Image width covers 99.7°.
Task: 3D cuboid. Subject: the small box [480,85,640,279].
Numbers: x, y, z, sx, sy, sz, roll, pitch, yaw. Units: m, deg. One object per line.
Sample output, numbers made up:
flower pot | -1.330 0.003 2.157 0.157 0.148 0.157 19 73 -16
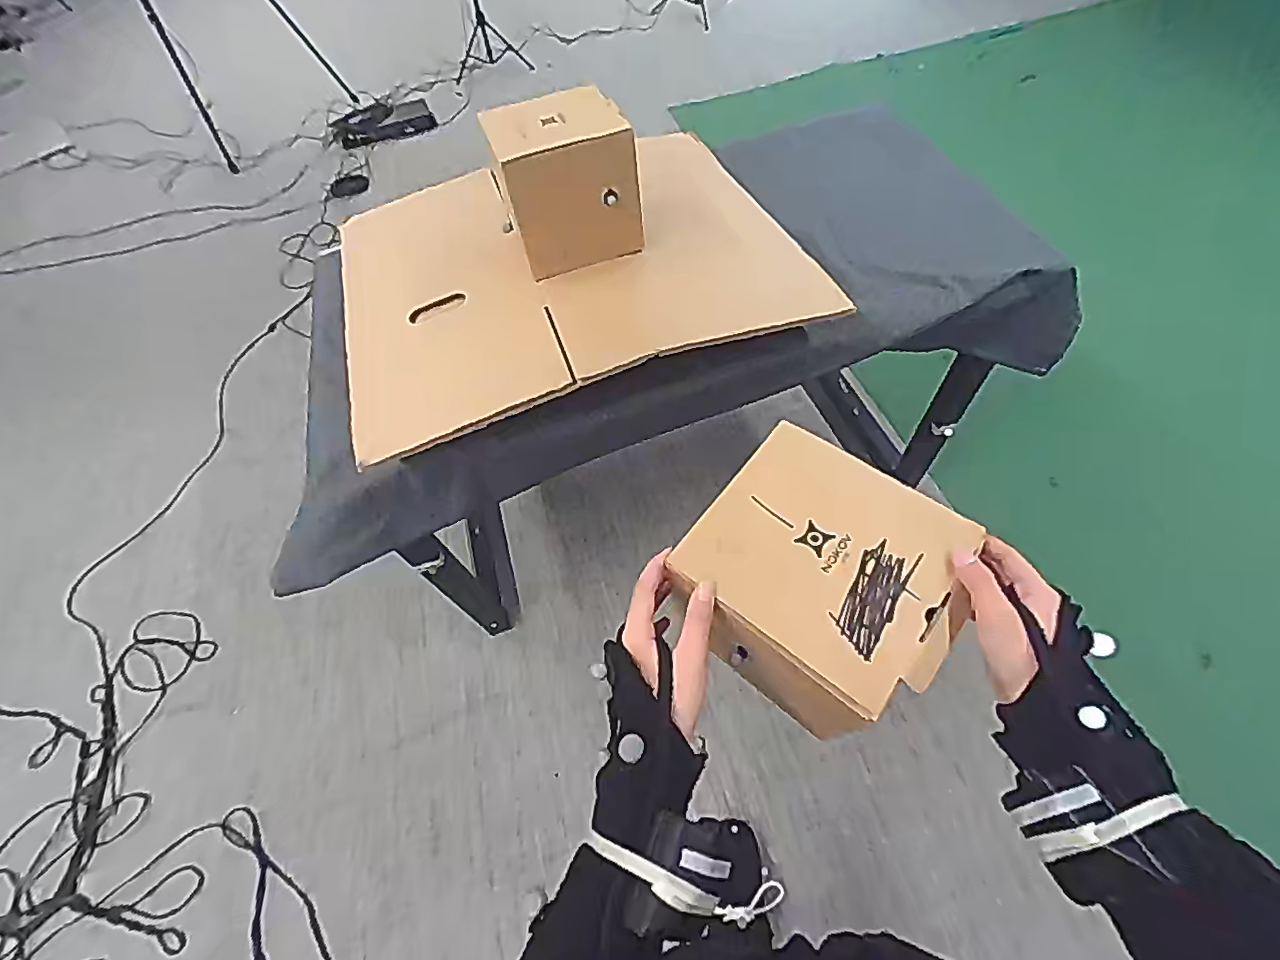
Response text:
small box | -0.106 -0.420 0.772 0.179 0.176 0.168 -20 55 -7
